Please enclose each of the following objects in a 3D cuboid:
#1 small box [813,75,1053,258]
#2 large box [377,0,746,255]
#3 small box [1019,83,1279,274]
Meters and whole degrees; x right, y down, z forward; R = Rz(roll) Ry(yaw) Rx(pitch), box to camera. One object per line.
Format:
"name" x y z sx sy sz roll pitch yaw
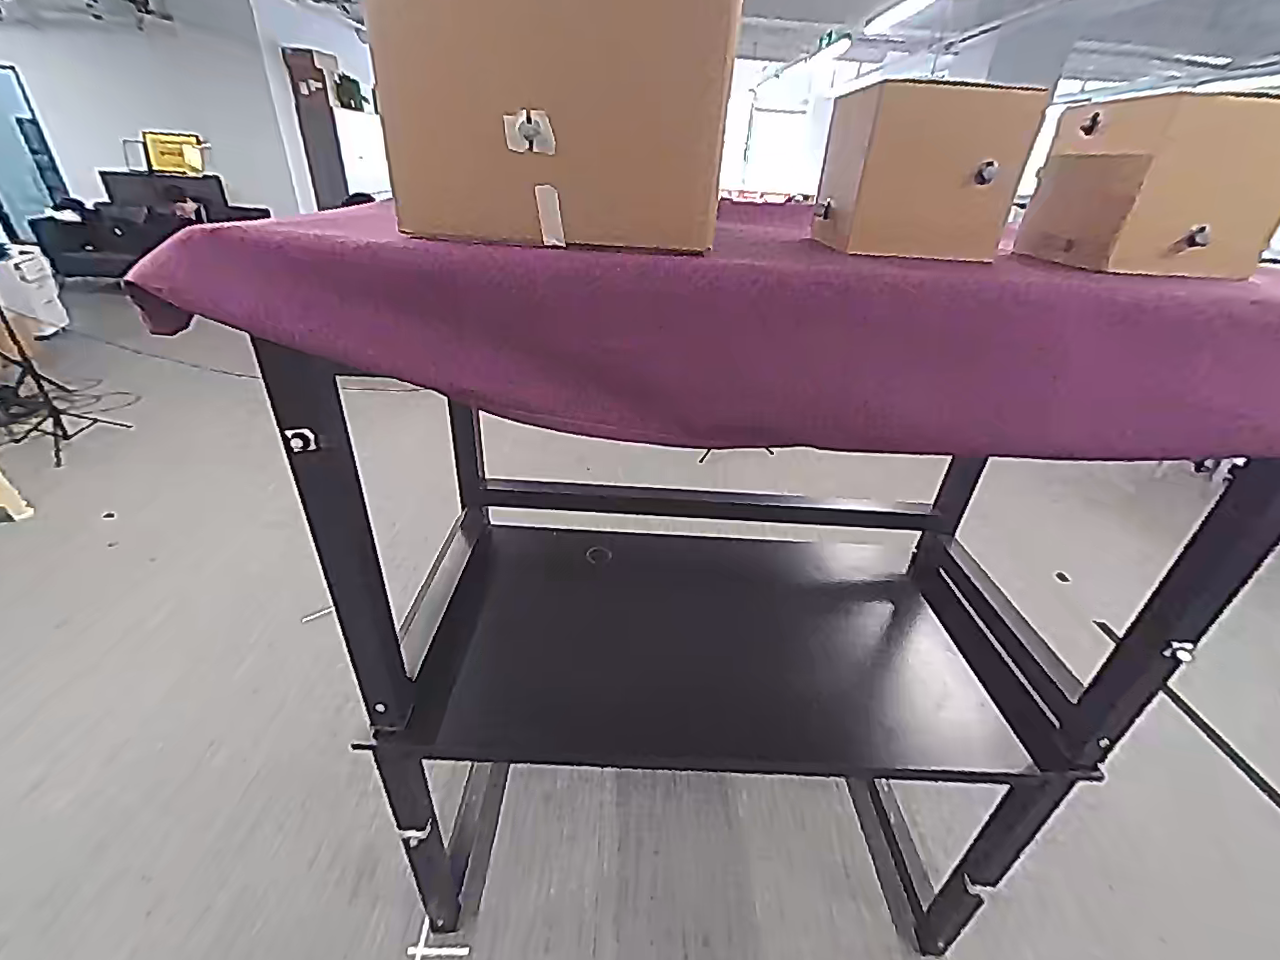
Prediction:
"small box" 0.328 -0.366 0.650 0.179 0.176 0.168 3 29 -1
"large box" -0.071 -0.453 0.624 0.320 0.320 0.408 3 29 -2
"small box" 0.594 -0.338 0.623 0.179 0.176 0.168 2 29 -3
